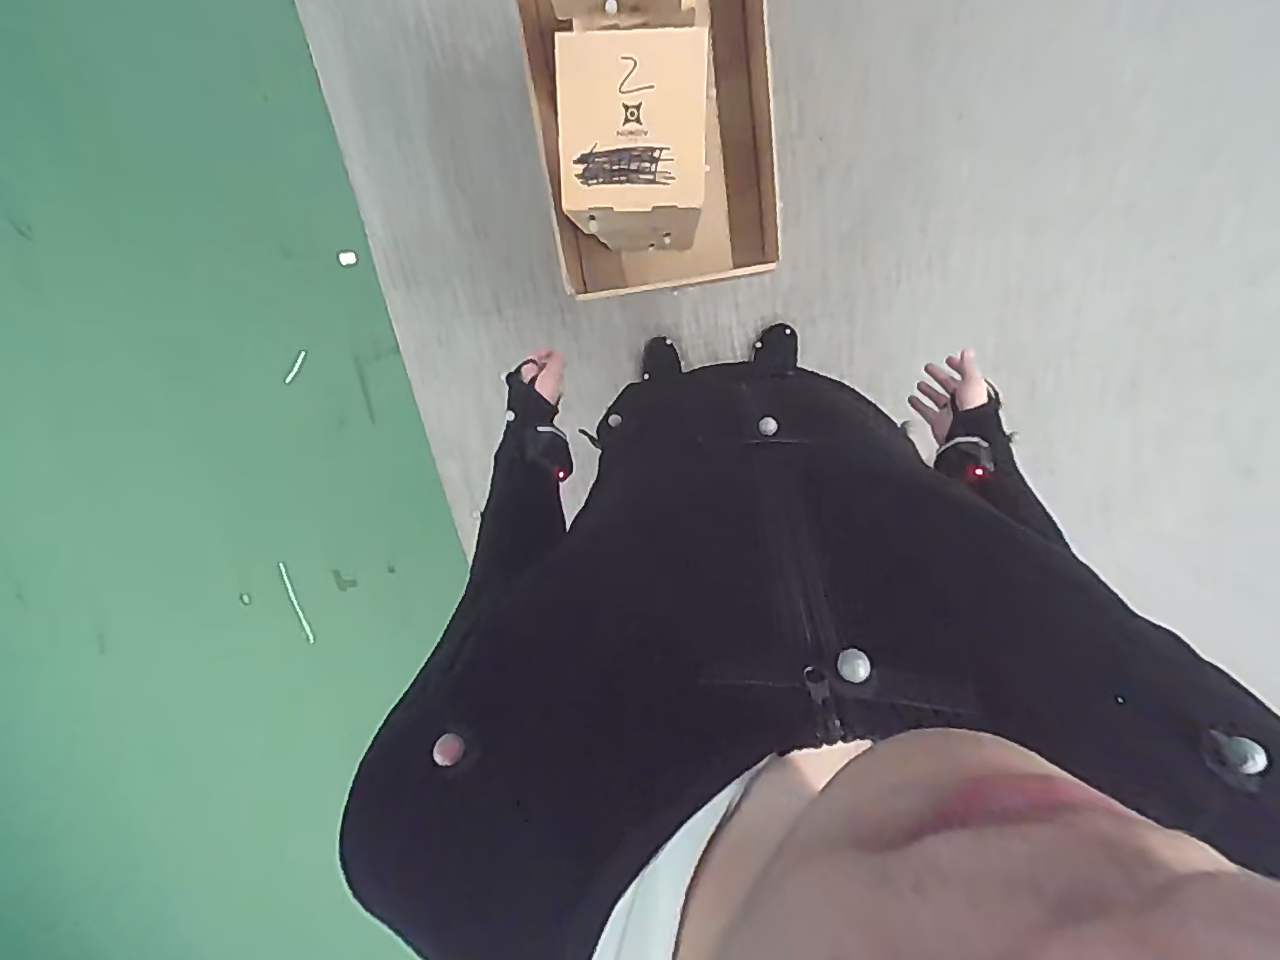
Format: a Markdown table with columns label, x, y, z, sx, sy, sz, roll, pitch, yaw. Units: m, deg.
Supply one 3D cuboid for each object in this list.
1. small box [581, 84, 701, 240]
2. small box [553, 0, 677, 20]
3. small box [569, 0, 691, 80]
| label | x | y | z | sx | sy | sz | roll | pitch | yaw |
| --- | --- | --- | --- | --- | --- | --- | --- | --- | --- |
| small box | 0.004 | -0.474 | 0.832 | 0.168 | 0.176 | 0.179 | 2 | 106 | 2 |
| small box | -0.037 | -0.665 | 0.609 | 0.168 | 0.176 | 0.179 | 0 | 109 | 3 |
| small box | -0.023 | -0.712 | 0.765 | 0.168 | 0.176 | 0.179 | -9 | 108 | 5 |
